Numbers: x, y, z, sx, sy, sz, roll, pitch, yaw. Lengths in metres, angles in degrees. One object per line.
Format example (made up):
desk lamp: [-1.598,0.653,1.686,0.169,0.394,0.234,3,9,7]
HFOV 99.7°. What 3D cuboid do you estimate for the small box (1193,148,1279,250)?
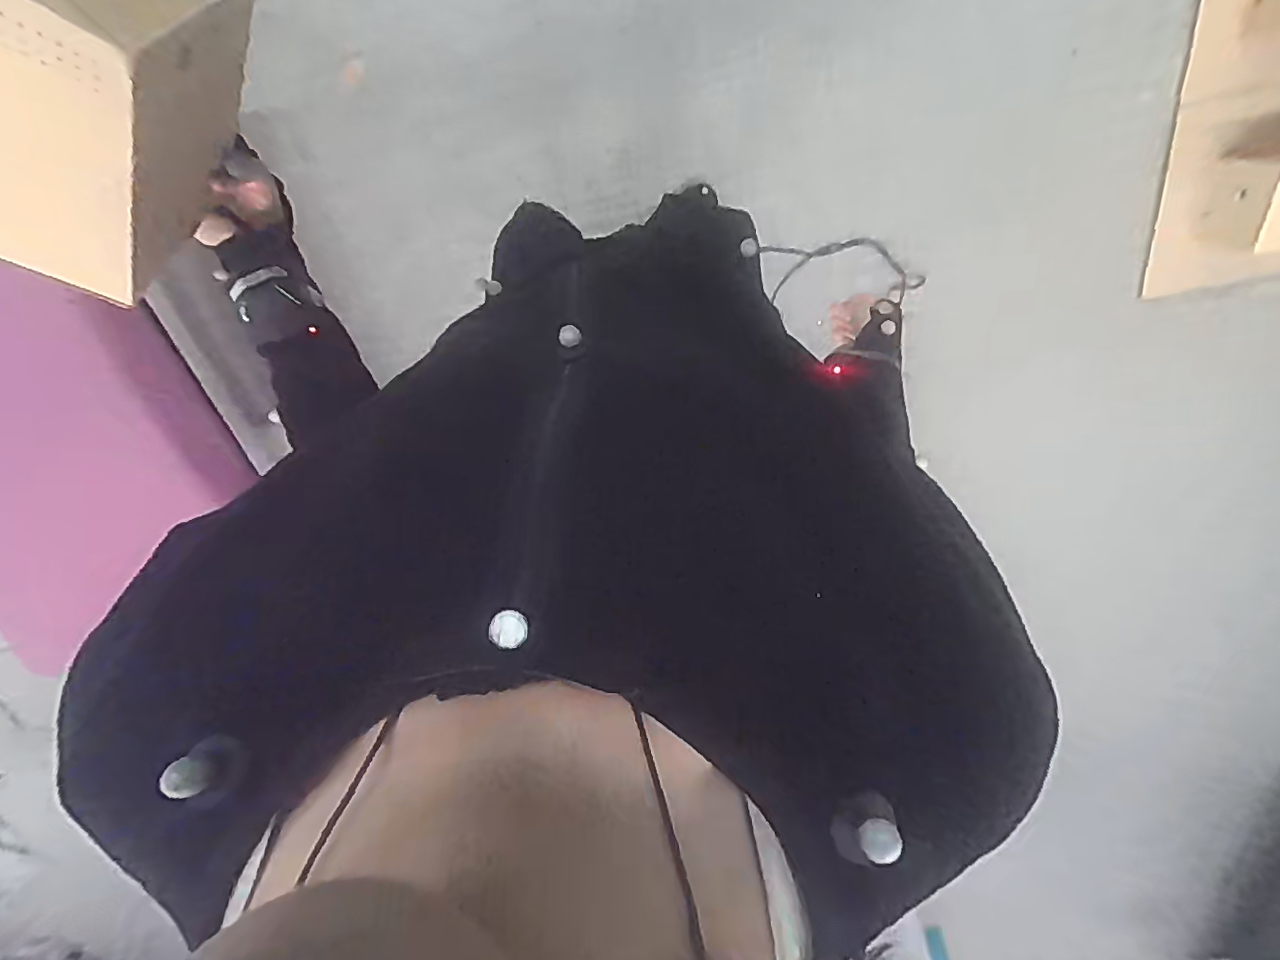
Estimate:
small box: [1.315,-0.583,1.110,0.179,0.176,0.168,-8,121,7]
